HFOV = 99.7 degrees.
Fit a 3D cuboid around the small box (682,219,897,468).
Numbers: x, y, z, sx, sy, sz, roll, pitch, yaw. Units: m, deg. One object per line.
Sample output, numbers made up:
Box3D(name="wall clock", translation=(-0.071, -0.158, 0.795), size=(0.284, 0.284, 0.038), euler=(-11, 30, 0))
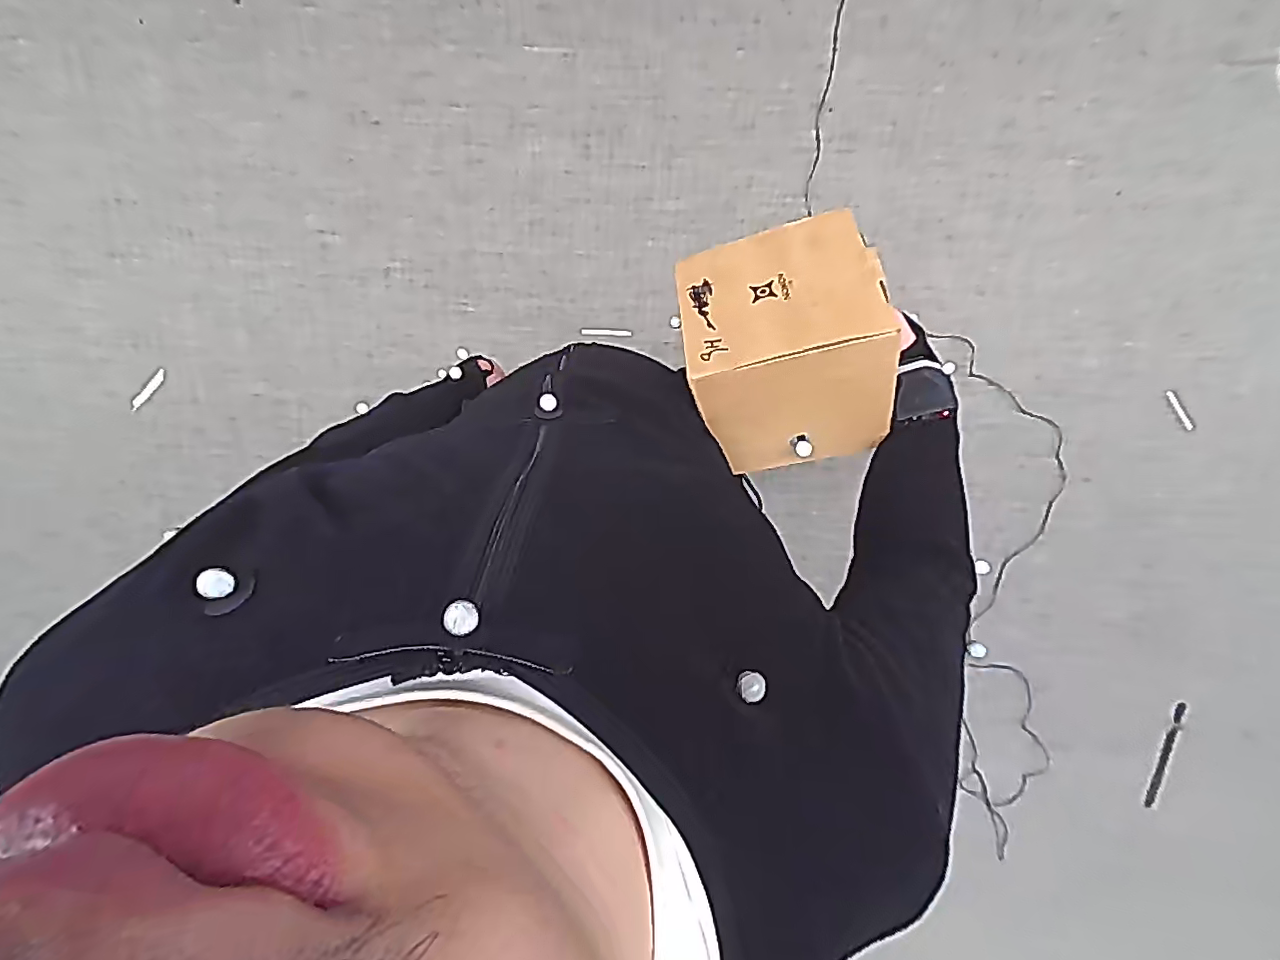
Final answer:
Box3D(name="small box", translation=(0.152, -0.133, 0.573), size=(0.179, 0.168, 0.176), euler=(-11, 146, 14))
